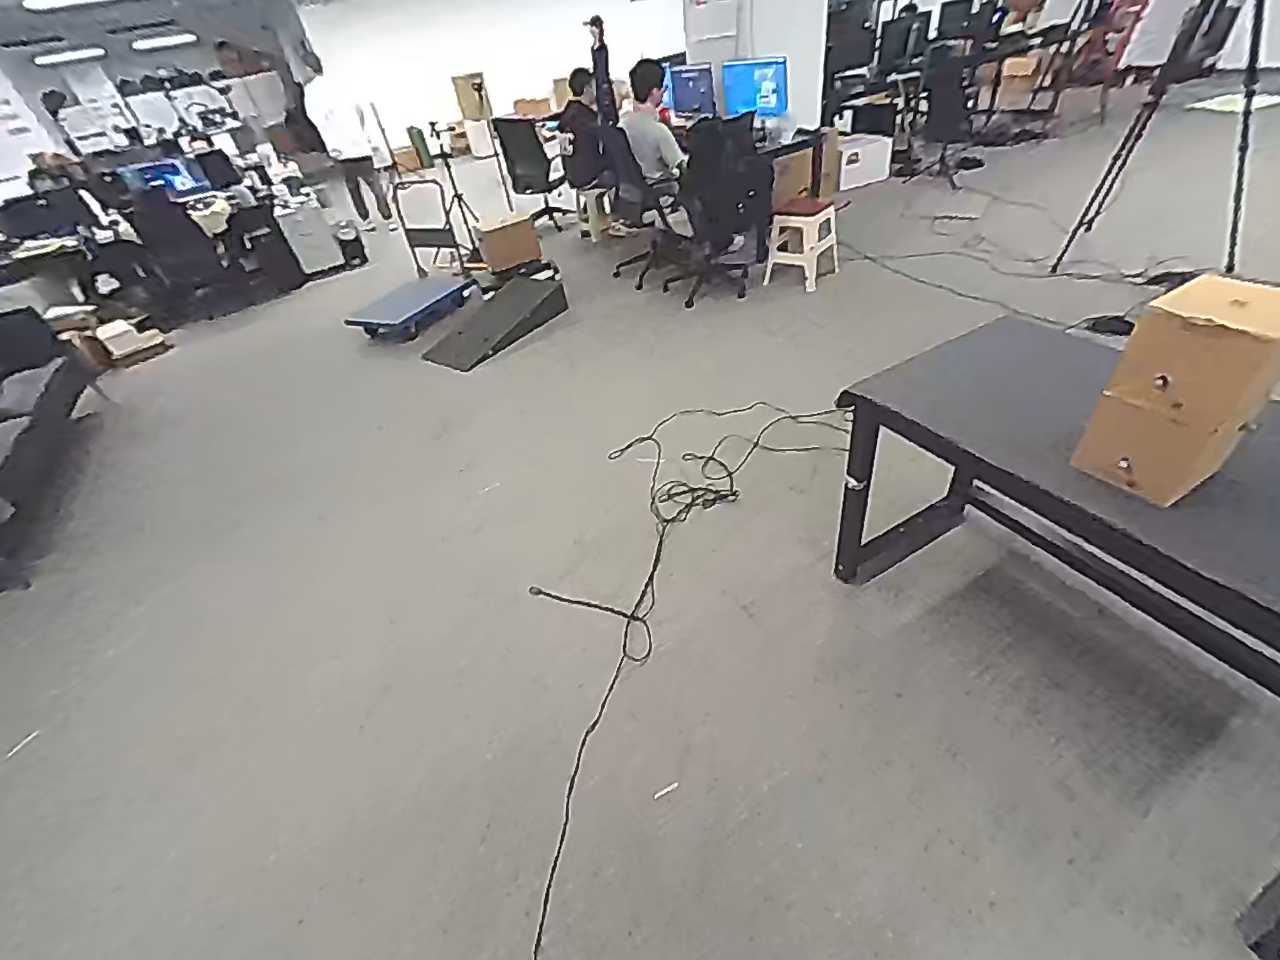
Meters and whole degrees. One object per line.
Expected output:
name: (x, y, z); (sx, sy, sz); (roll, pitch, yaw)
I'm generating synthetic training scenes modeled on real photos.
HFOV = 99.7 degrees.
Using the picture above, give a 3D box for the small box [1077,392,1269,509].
small box: (0.952, -0.080, 0.985); (0.179, 0.176, 0.168); (-25, 41, -18)

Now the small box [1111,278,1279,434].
small box: (0.930, -0.204, 0.882); (0.179, 0.176, 0.168); (-25, 42, -18)
